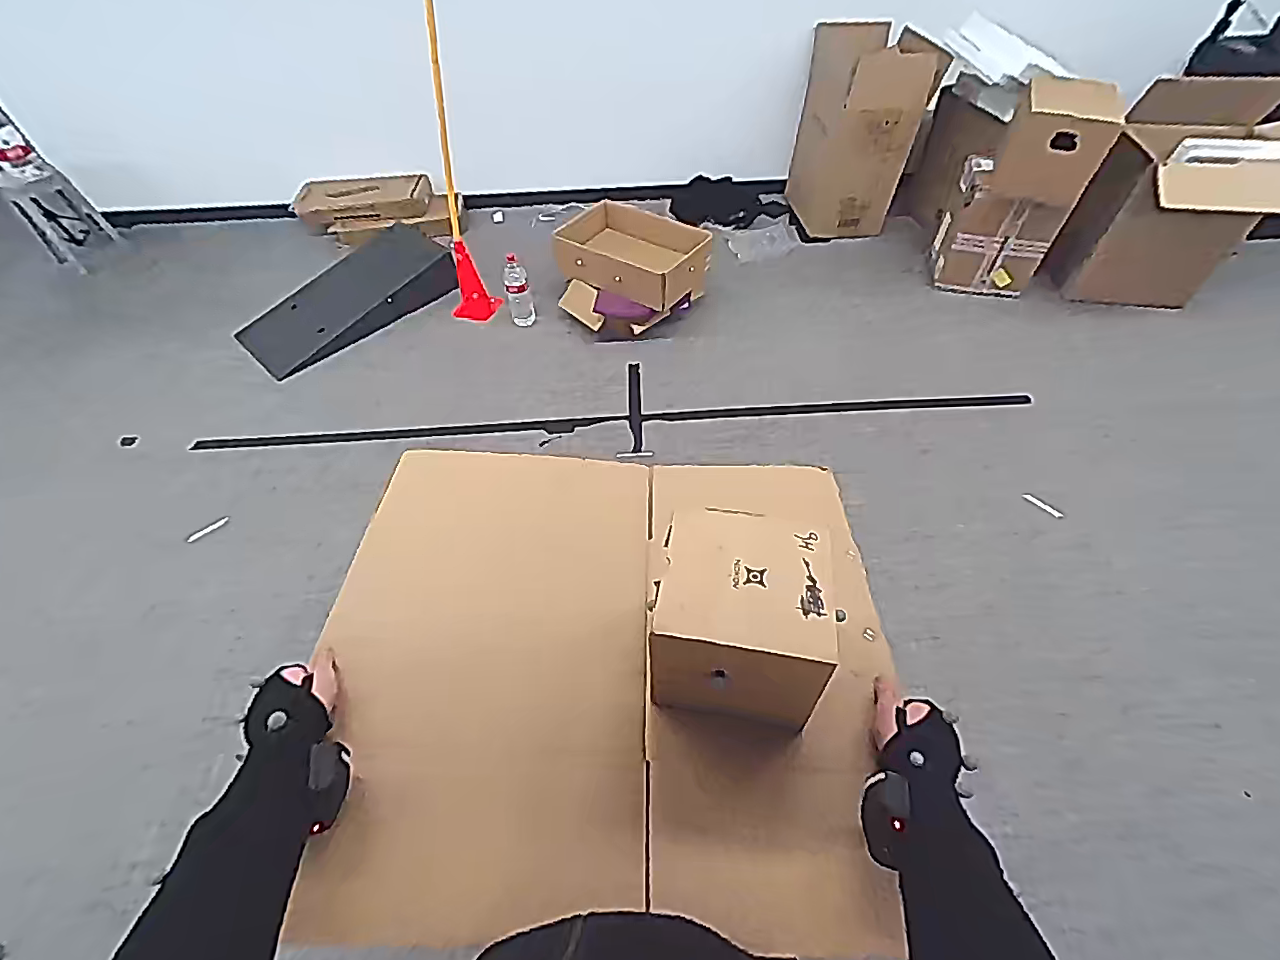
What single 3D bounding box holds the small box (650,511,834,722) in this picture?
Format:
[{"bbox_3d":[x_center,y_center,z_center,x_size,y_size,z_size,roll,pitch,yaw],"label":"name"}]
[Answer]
[{"bbox_3d":[0.113,0.157,0.620,0.179,0.176,0.168,6,47,9],"label":"small box"}]
